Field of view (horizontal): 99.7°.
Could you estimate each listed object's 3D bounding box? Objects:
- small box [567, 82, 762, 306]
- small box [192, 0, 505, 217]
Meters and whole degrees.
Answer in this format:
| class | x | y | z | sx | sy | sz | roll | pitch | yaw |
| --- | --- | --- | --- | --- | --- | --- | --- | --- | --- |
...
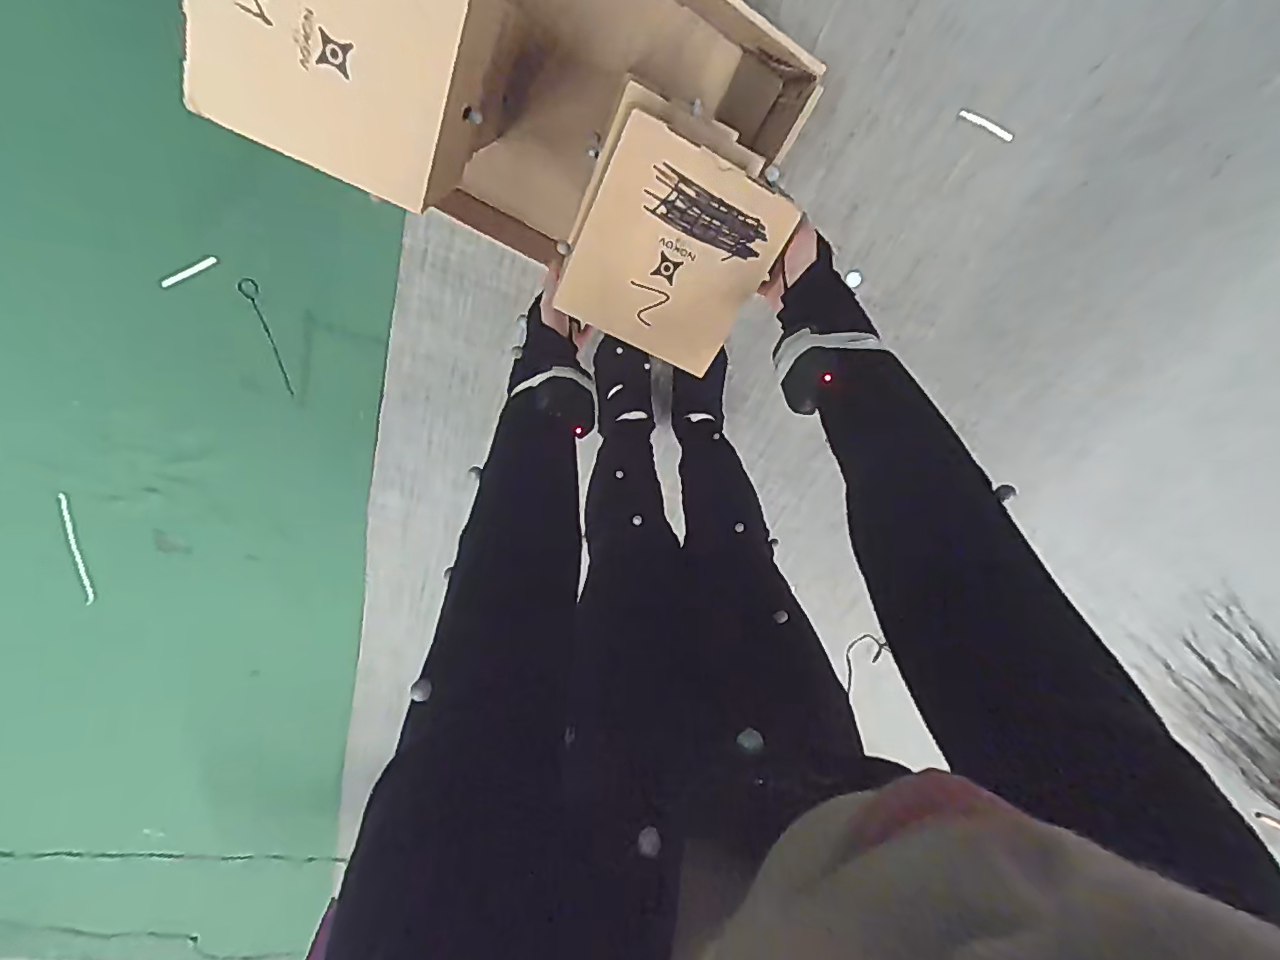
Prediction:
| class | x | y | z | sx | sy | sz | roll | pitch | yaw |
| --- | --- | --- | --- | --- | --- | --- | --- | --- | --- |
| small box | 0.023 | -0.352 | 0.671 | 0.168 | 0.176 | 0.179 | 21 | 121 | -17 |
| small box | -0.226 | -0.357 | 0.452 | 0.179 | 0.176 | 0.168 | 20 | 122 | -18 |
